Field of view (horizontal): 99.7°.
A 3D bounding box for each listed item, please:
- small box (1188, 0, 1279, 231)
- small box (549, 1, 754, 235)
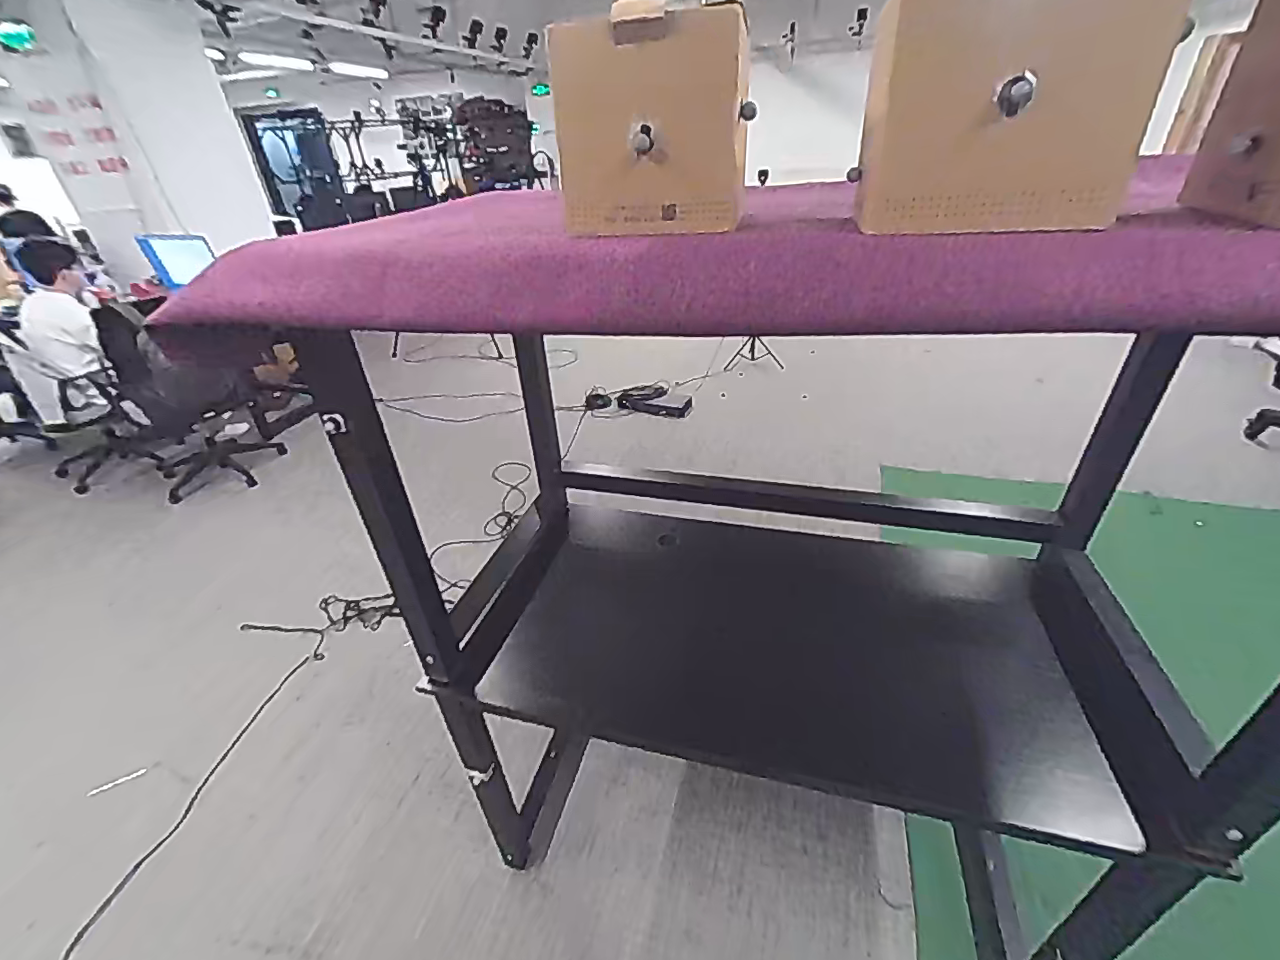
[{"bbox_3d":[0.555,-0.274,0.372,0.179,0.176,0.168,5,33,17],"label":"small box"},{"bbox_3d":[0.025,-0.348,0.548,0.168,0.176,0.179,4,32,12],"label":"small box"}]
